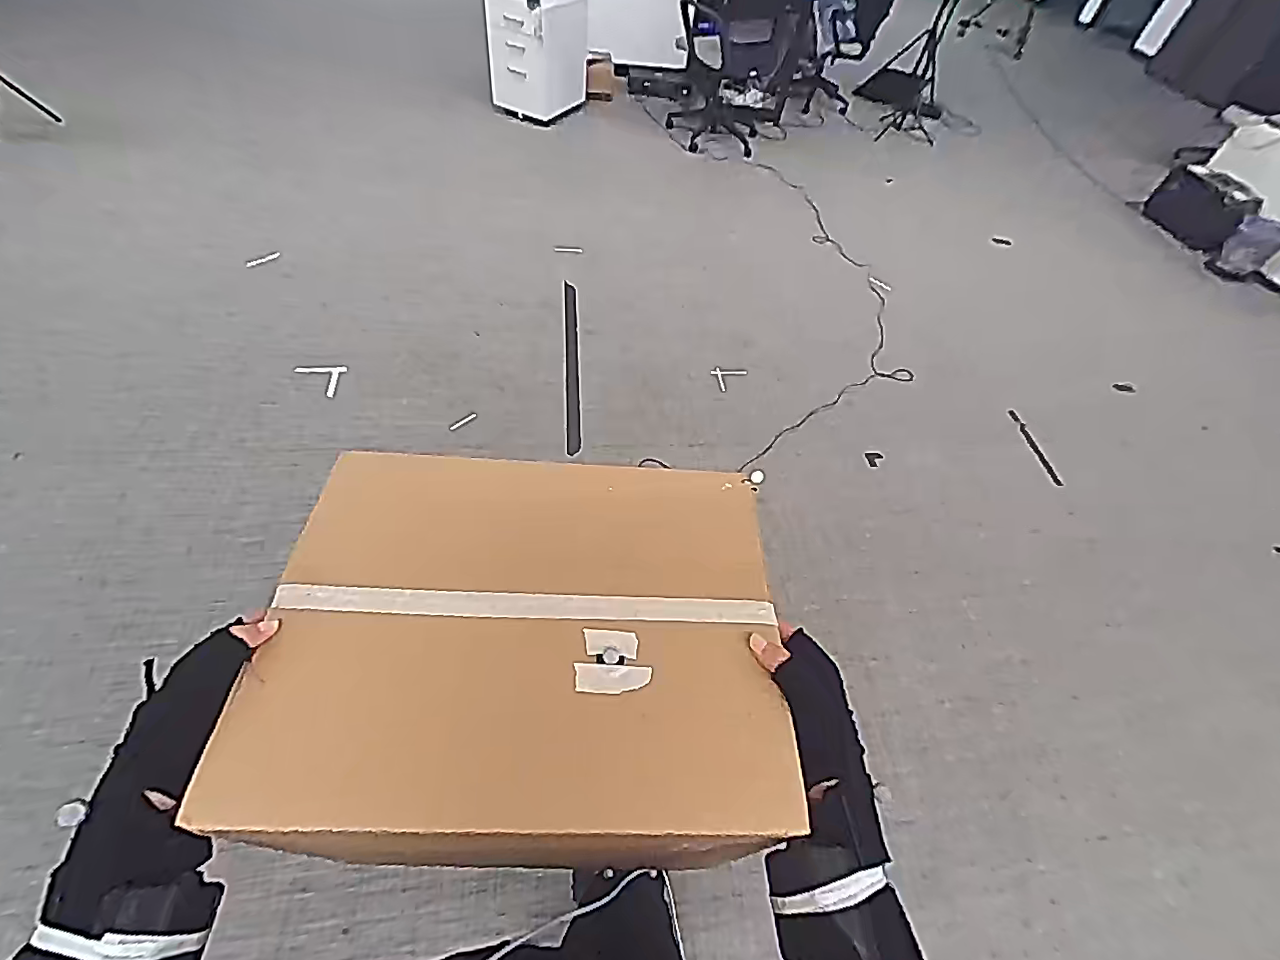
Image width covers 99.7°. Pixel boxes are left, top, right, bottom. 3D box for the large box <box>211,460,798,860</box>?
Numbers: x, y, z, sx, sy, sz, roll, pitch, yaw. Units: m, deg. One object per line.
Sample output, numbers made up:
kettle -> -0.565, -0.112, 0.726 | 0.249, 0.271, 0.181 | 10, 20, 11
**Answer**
large box -> -0.101, 0.201, 0.573 | 0.408, 0.320, 0.320 | 3, 52, -4
